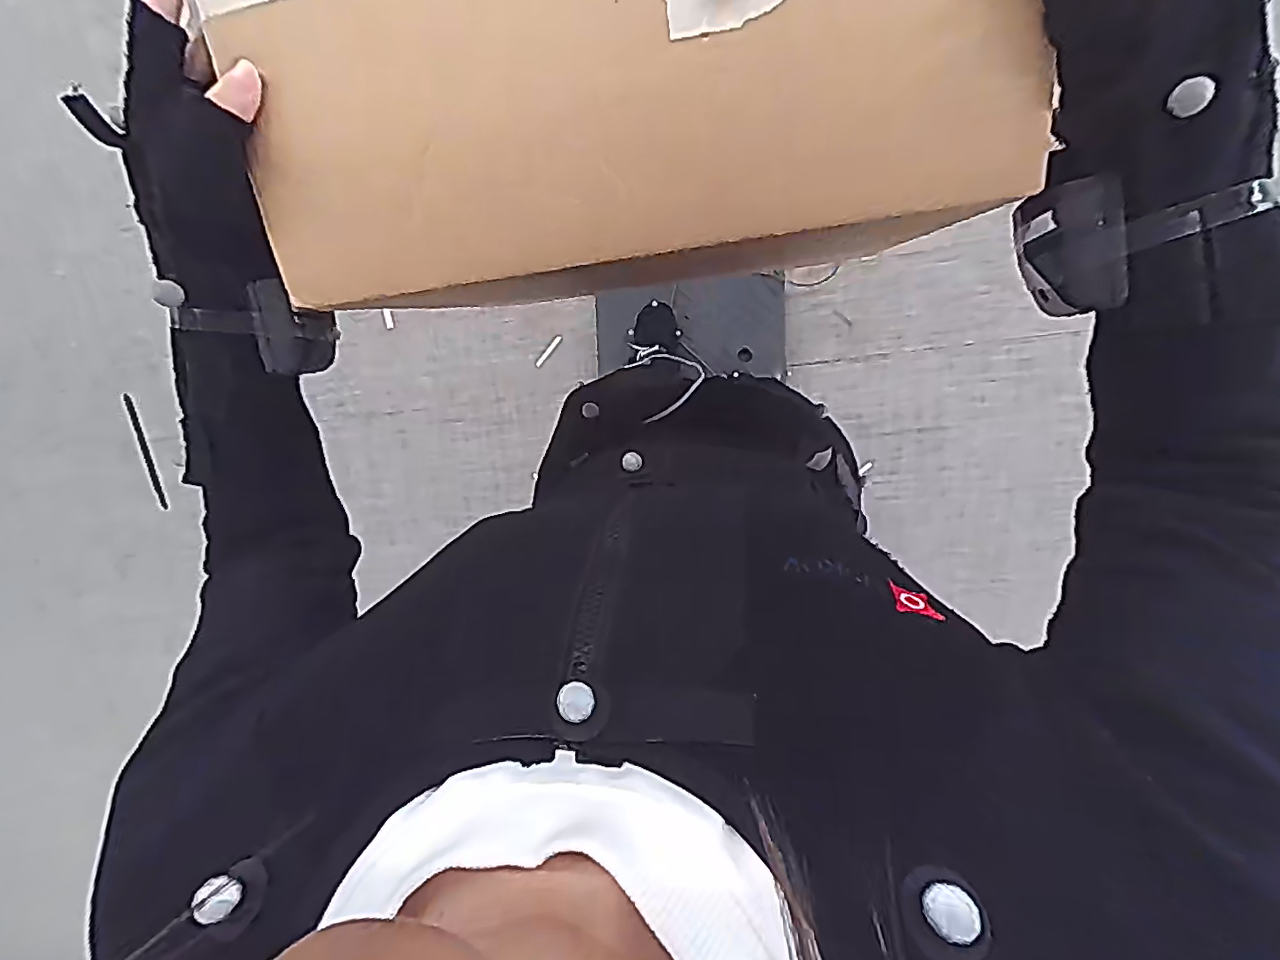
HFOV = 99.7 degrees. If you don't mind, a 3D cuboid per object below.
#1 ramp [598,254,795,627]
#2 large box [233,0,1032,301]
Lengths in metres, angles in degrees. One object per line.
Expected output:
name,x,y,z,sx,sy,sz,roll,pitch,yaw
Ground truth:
ramp,0.143,-0.106,1.427,0.509,0.206,0.991,-3,103,11
large box,-0.007,-0.322,0.397,0.408,0.320,0.320,-5,108,10
